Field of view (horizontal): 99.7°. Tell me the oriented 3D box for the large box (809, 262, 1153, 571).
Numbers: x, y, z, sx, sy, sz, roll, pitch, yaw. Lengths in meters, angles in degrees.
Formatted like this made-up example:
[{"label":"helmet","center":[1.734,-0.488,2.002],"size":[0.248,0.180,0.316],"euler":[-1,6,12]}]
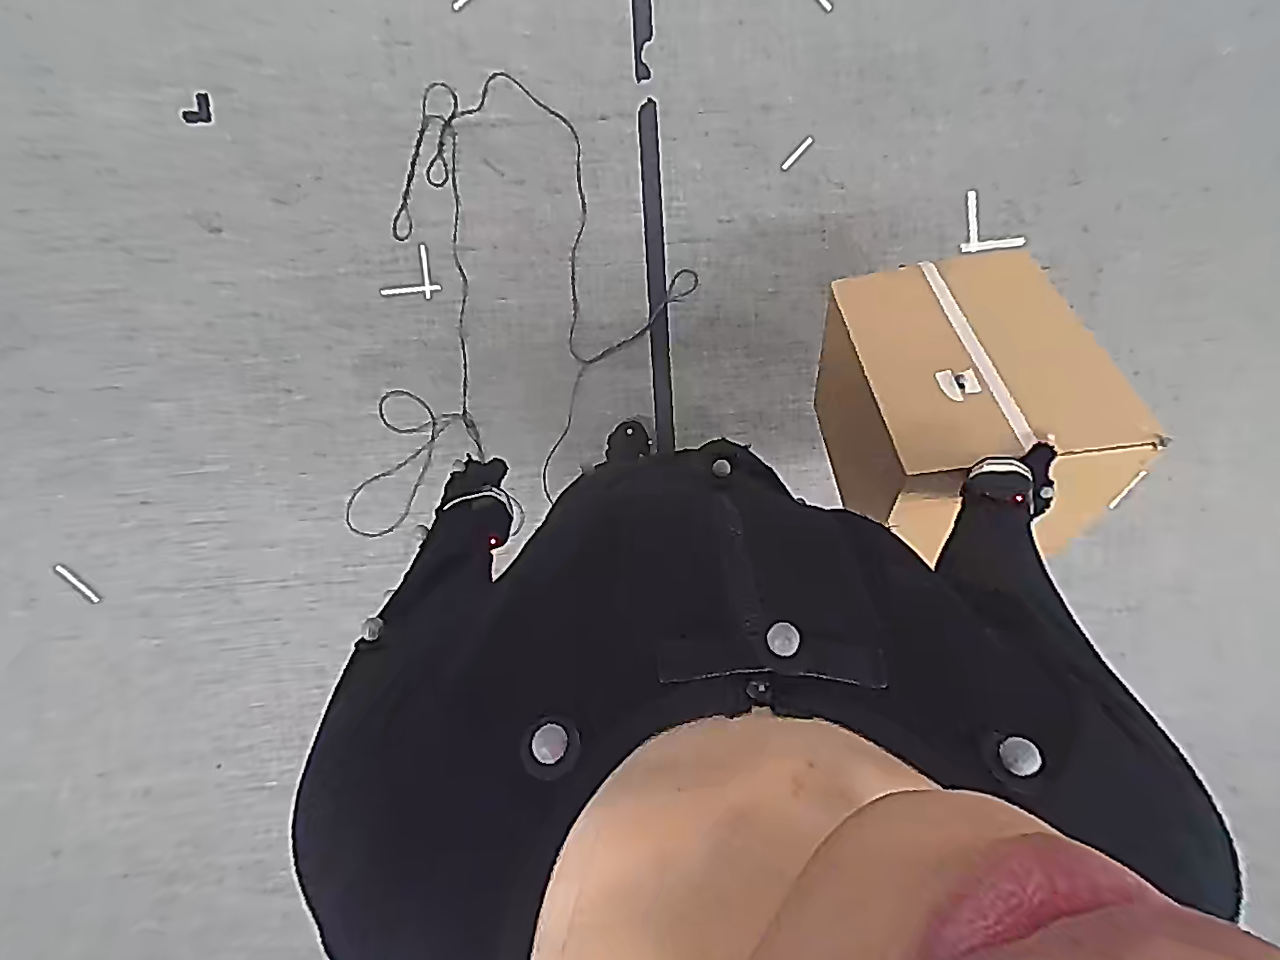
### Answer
[{"label":"large box","center":[0.508,-0.101,0.929],"size":[0.320,0.320,0.408],"euler":[-8,56,6]}]
